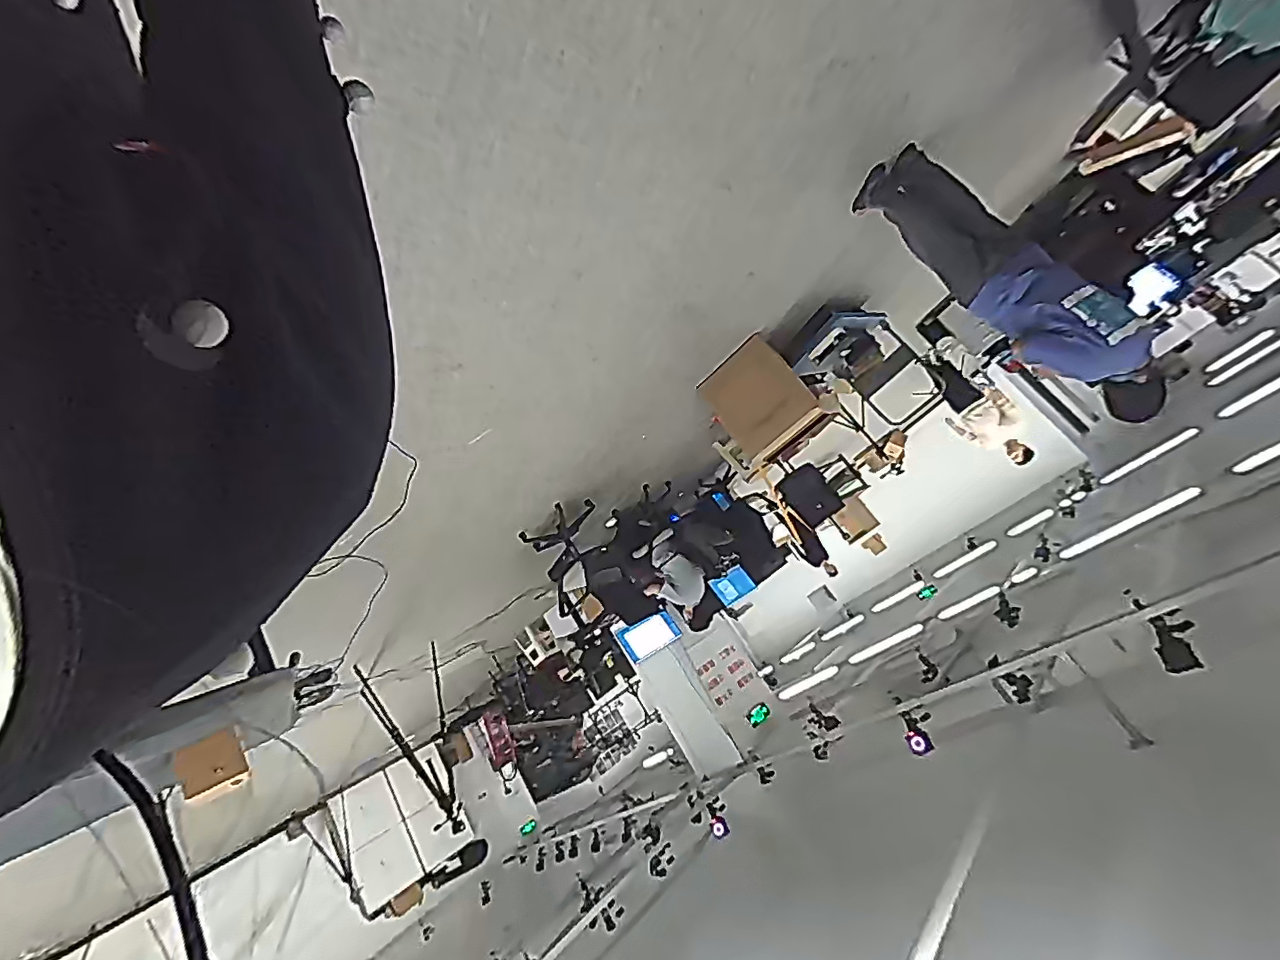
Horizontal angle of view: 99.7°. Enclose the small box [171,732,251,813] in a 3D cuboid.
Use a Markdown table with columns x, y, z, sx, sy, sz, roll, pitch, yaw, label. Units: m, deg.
| x | y | z | sx | sy | sz | roll | pitch | yaw | label |
| --- | --- | --- | --- | --- | --- | --- | --- | --- | --- |
| -1.462 | 0.993 | 1.848 | 0.179 | 0.176 | 0.168 | -18 | 155 | -40 | small box |
